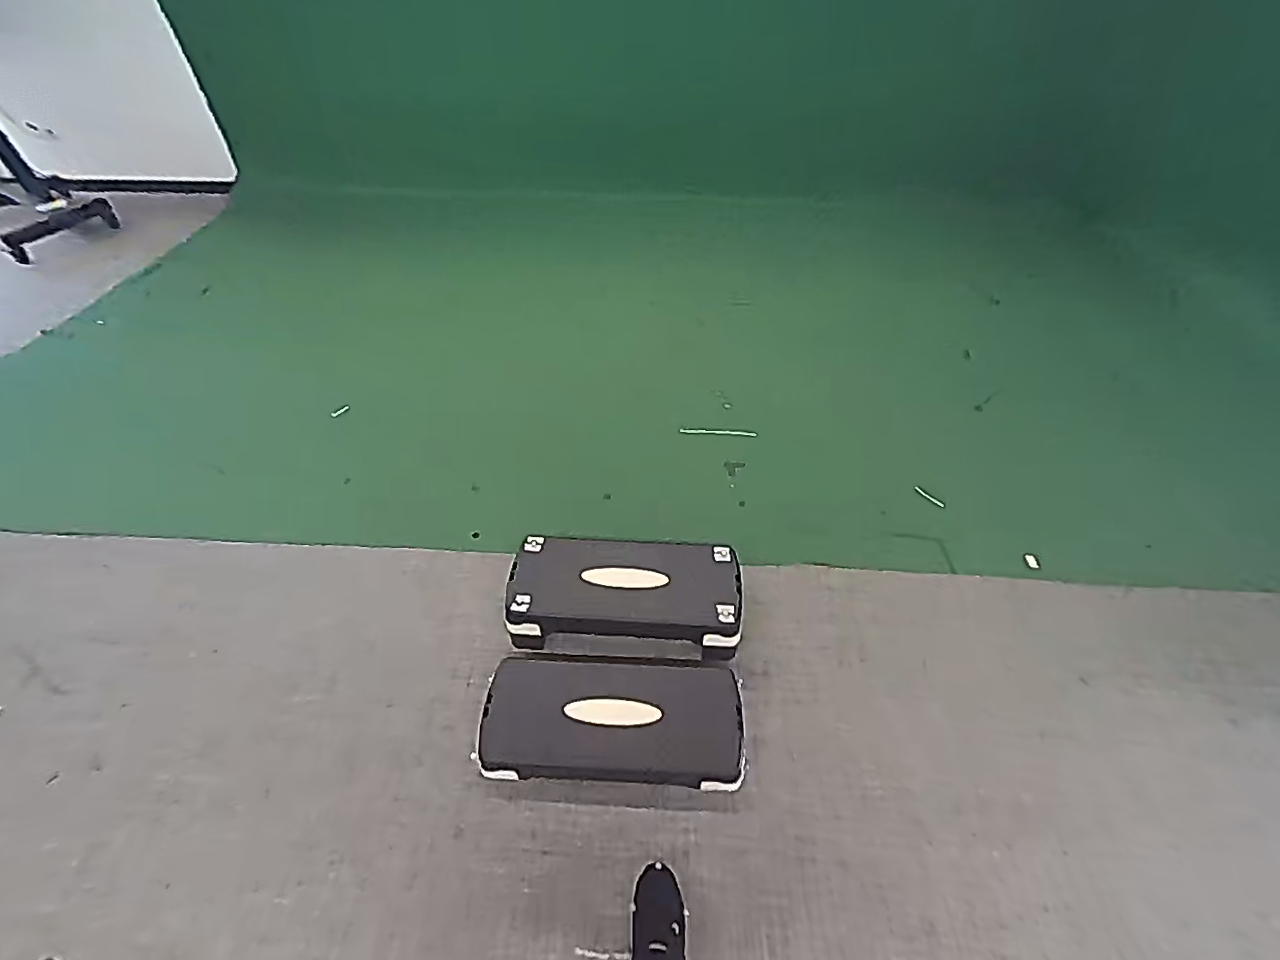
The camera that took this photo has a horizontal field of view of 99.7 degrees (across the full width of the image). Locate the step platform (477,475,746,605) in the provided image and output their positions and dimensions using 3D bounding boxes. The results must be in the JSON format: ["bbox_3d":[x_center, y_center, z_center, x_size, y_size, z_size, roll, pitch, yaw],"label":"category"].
[{"bbox_3d":[-0.068,0.164,1.465,0.684,0.204,0.286,2,48,2],"label":"step platform"}]
